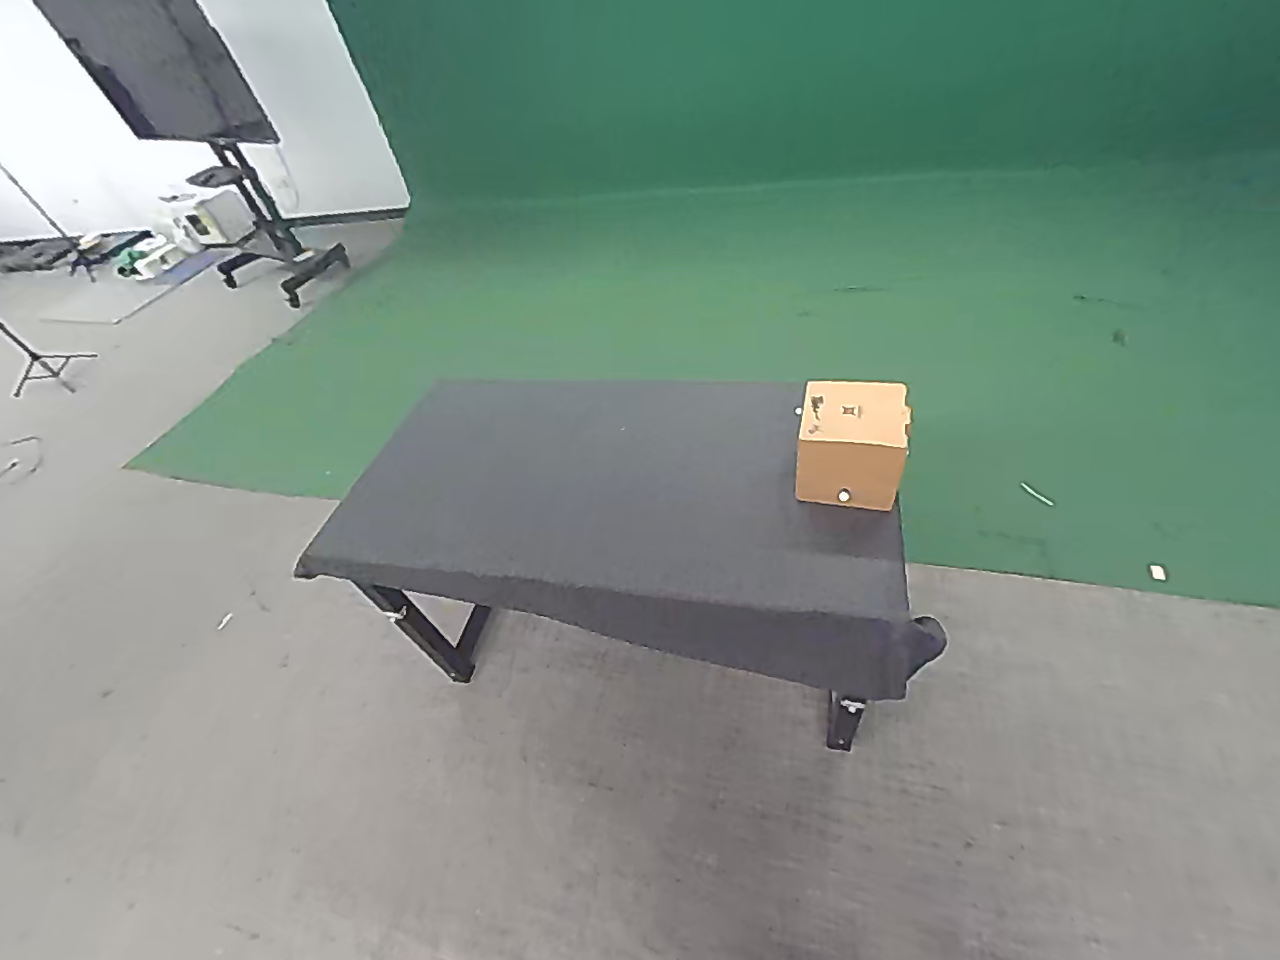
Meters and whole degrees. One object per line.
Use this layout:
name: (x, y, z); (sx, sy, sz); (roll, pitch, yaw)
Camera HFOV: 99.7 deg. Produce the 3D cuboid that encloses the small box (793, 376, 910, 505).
small box: (0.393, -0.072, 1.015); (0.179, 0.176, 0.168); (8, 51, 17)
